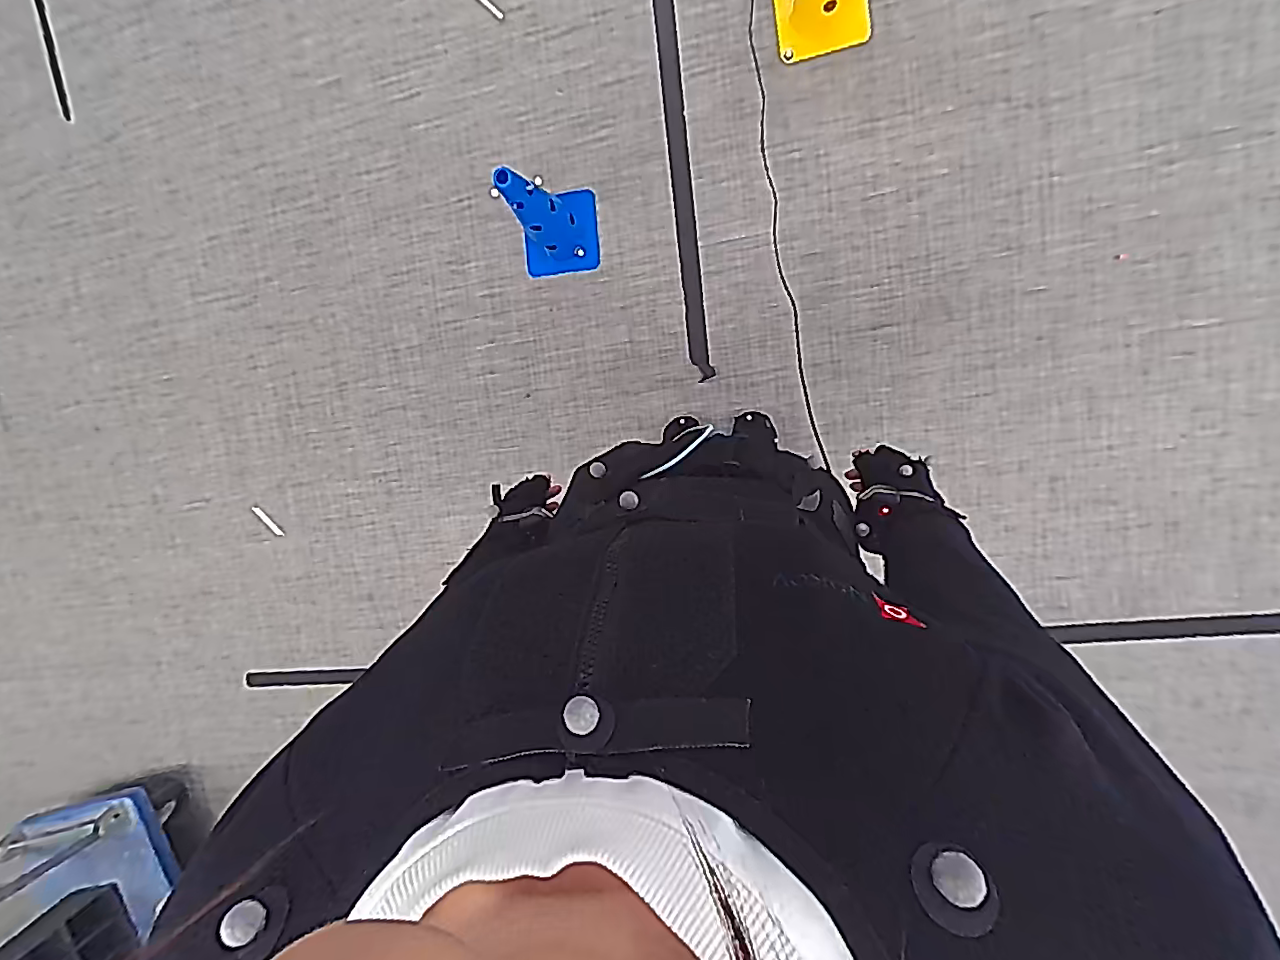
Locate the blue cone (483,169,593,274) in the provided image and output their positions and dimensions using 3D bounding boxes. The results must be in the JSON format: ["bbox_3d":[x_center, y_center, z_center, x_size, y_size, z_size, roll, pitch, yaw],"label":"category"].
[{"bbox_3d":[-0.248,-0.623,1.247,0.192,0.380,0.193,-2,97,12],"label":"blue cone"}]
